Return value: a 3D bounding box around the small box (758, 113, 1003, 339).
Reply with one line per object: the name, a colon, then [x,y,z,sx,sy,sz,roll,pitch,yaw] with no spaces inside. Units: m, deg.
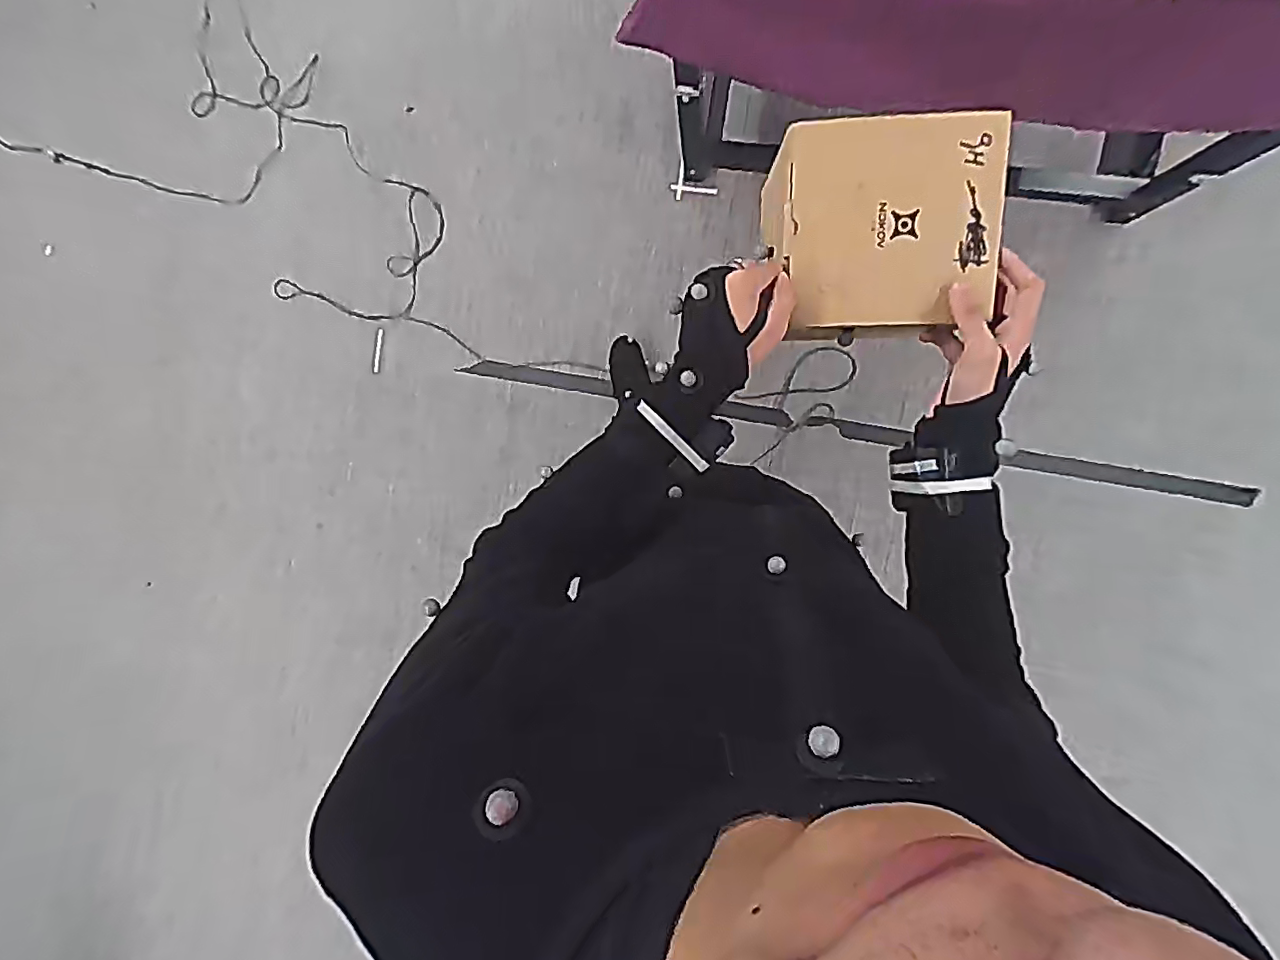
small box: [0.215,-0.231,0.536,0.179,0.176,0.168,0,100,4]
